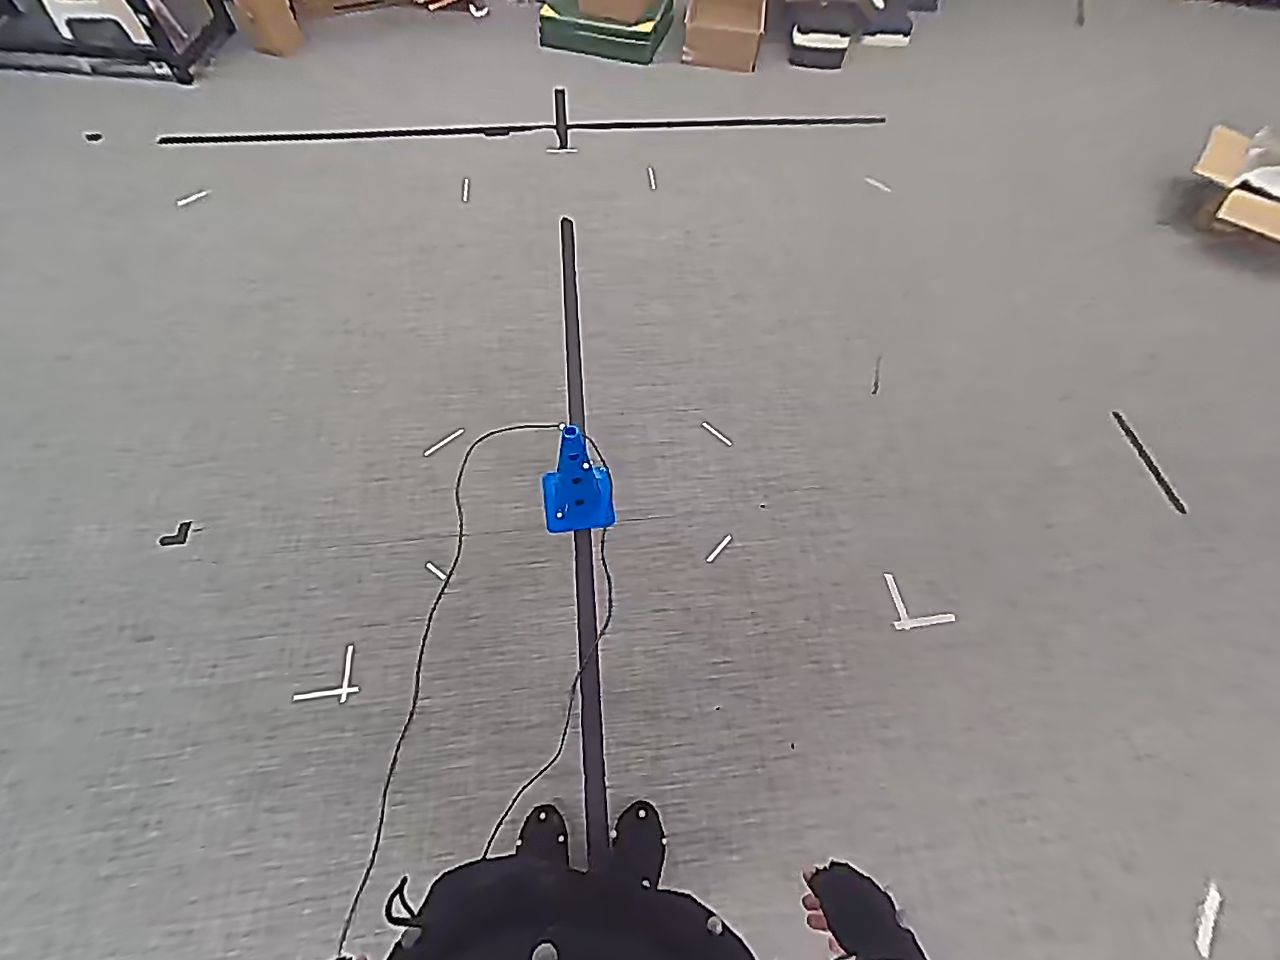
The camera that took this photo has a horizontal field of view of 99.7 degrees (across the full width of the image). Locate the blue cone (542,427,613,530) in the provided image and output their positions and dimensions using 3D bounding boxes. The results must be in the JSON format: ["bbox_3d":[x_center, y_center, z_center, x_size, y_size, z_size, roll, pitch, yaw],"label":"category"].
[{"bbox_3d":[-0.173,-0.027,1.438,0.192,0.380,0.193,-9,63,-8],"label":"blue cone"}]
